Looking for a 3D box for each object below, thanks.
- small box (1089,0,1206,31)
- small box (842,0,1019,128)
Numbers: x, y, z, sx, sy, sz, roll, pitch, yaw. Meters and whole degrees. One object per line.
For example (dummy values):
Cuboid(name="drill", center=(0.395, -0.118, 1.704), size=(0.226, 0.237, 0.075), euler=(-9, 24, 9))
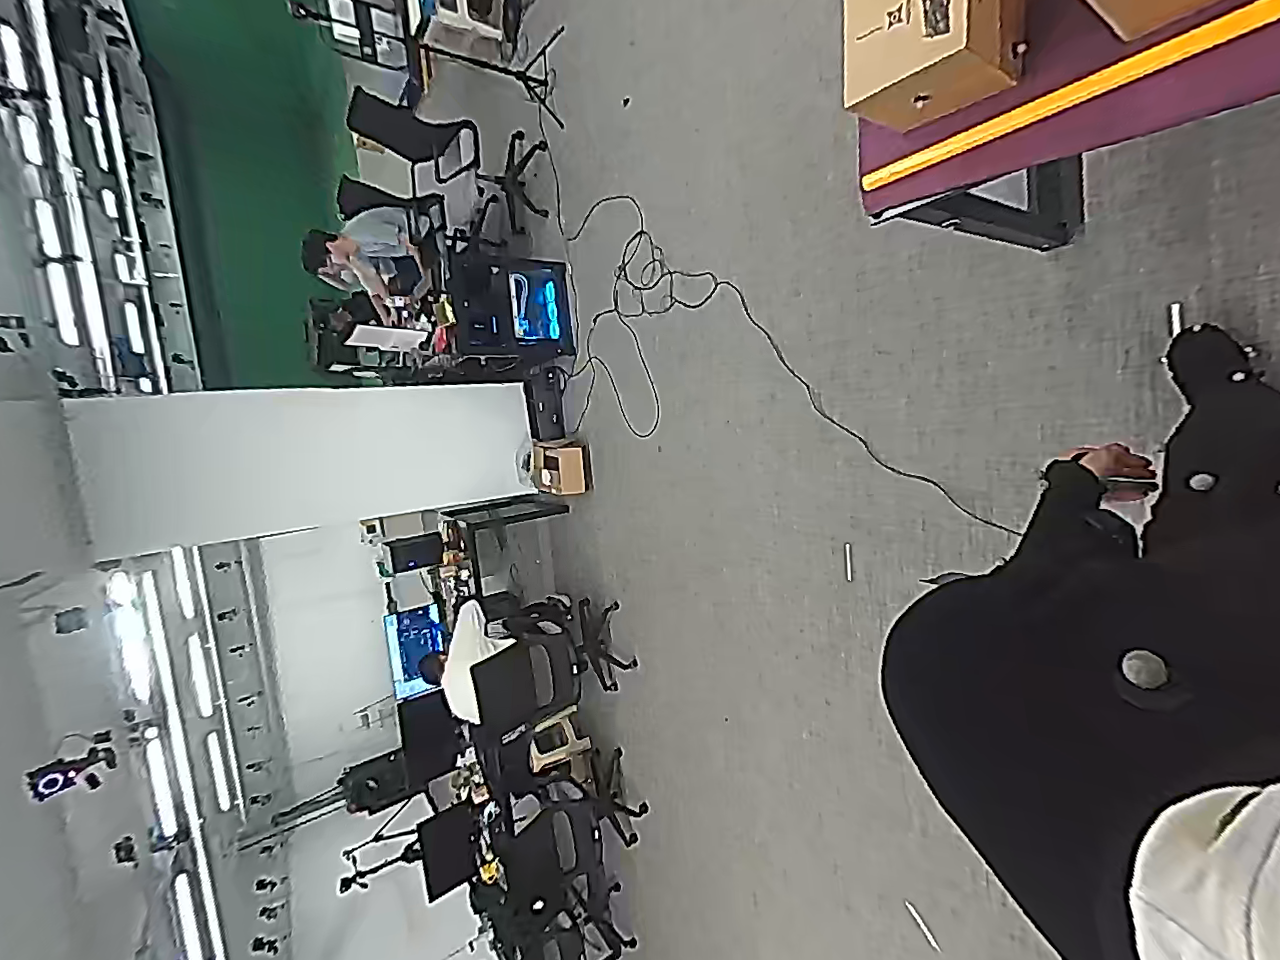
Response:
Cuboid(name="small box", center=(0.577, -0.606, 0.538), size=(0.179, 0.176, 0.168), euler=(8, 104, 56))
Cuboid(name="small box", center=(0.412, -0.636, 0.767), size=(0.179, 0.176, 0.168), euler=(11, 107, 54))
